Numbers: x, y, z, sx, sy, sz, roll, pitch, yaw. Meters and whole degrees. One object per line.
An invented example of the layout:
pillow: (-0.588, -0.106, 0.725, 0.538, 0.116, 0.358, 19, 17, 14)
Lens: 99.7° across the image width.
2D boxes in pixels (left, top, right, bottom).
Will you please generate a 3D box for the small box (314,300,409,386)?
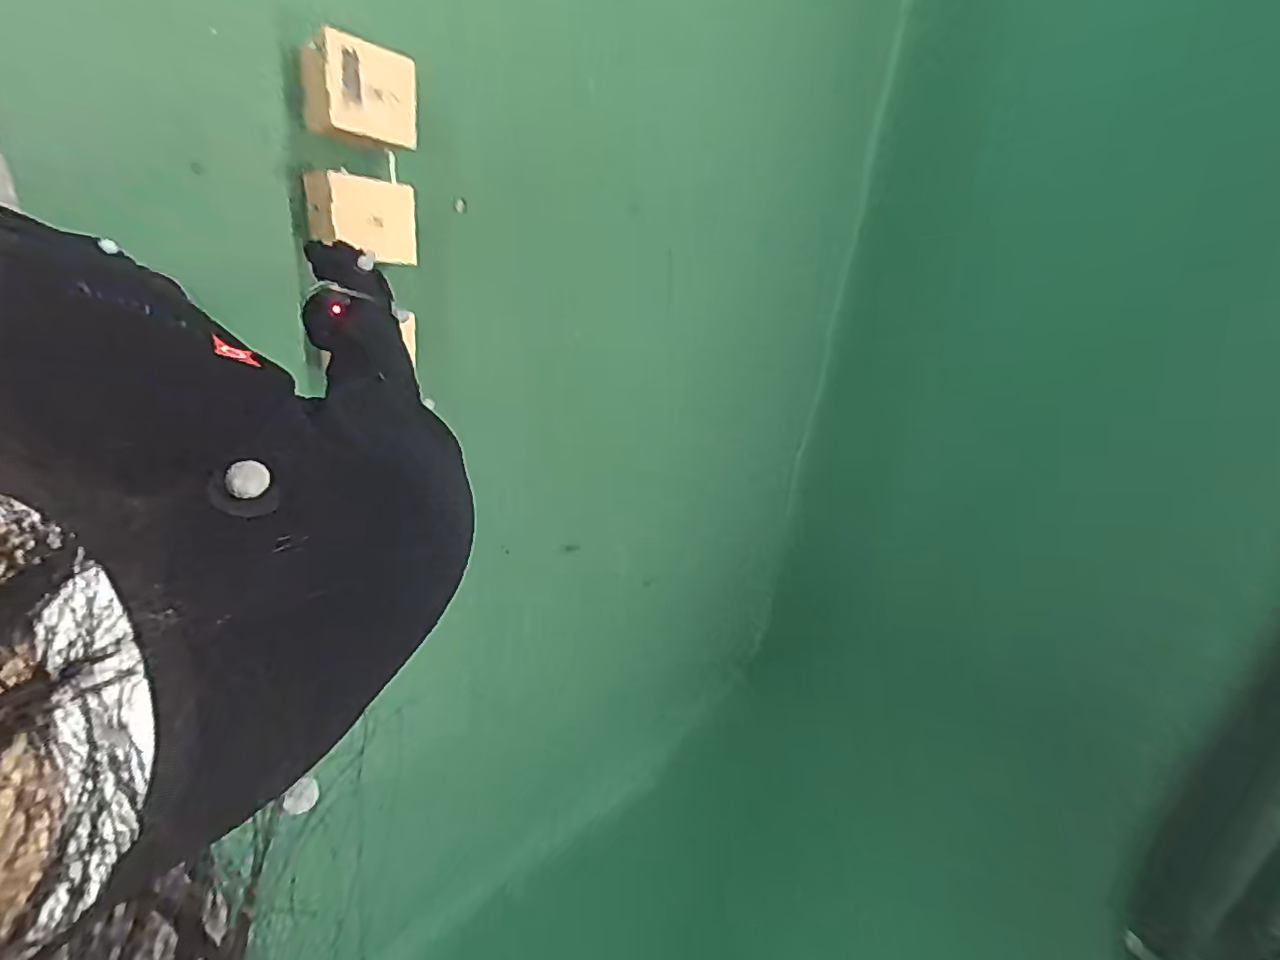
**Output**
small box: (-0.687, -0.336, 1.333, 0.168, 0.176, 0.179, -11, 117, -45)

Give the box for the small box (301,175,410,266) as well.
small box: (-0.651, -0.594, 1.243, 0.179, 0.176, 0.168, -14, 119, -43)
